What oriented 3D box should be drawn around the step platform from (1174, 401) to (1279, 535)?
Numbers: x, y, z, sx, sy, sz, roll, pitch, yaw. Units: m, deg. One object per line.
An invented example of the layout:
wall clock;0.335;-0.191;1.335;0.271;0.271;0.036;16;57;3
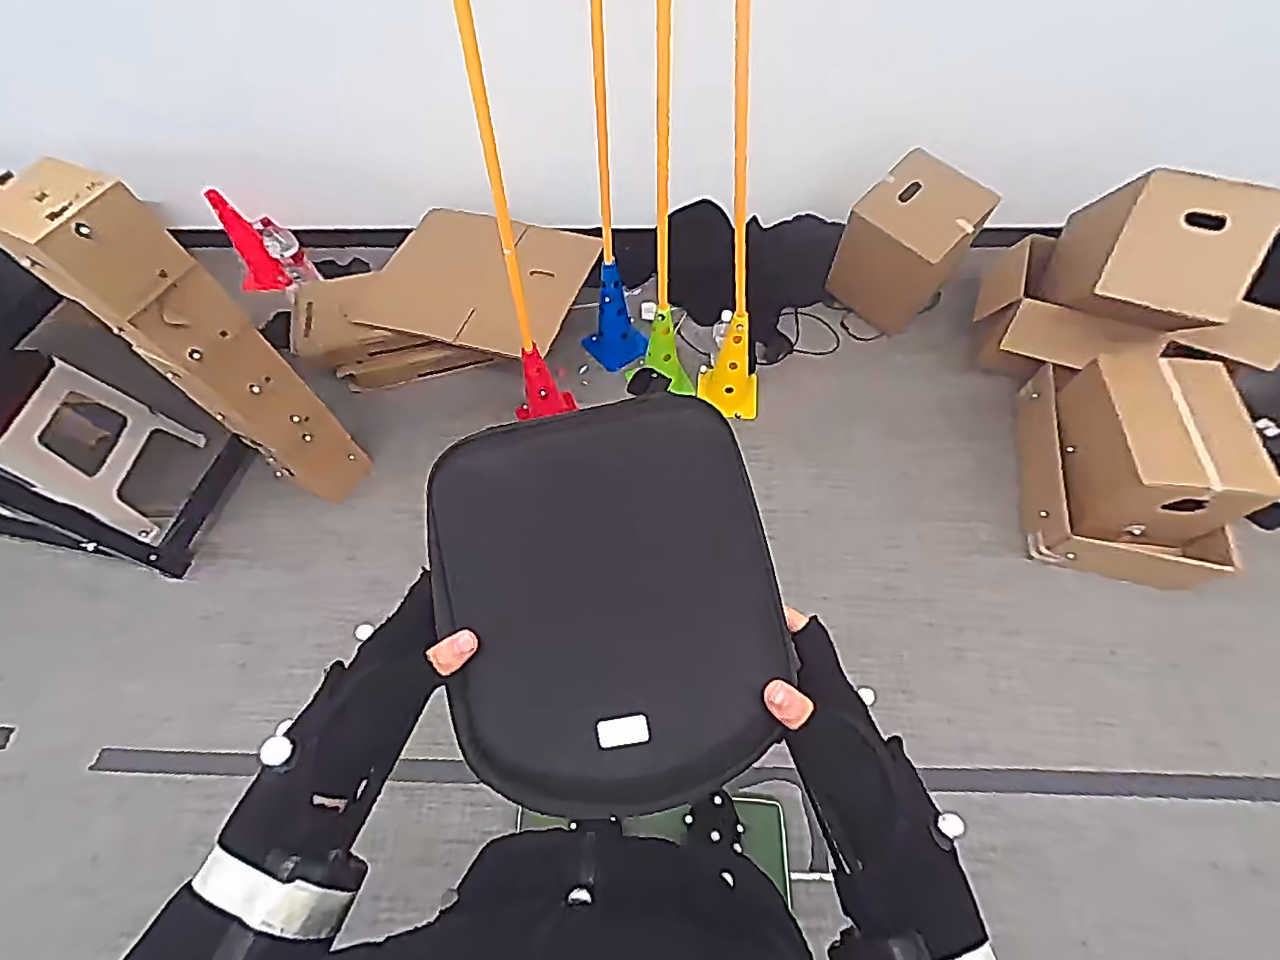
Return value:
step platform;2.006;-0.110;1.615;0.684;0.204;0.286;-25;63;-12
